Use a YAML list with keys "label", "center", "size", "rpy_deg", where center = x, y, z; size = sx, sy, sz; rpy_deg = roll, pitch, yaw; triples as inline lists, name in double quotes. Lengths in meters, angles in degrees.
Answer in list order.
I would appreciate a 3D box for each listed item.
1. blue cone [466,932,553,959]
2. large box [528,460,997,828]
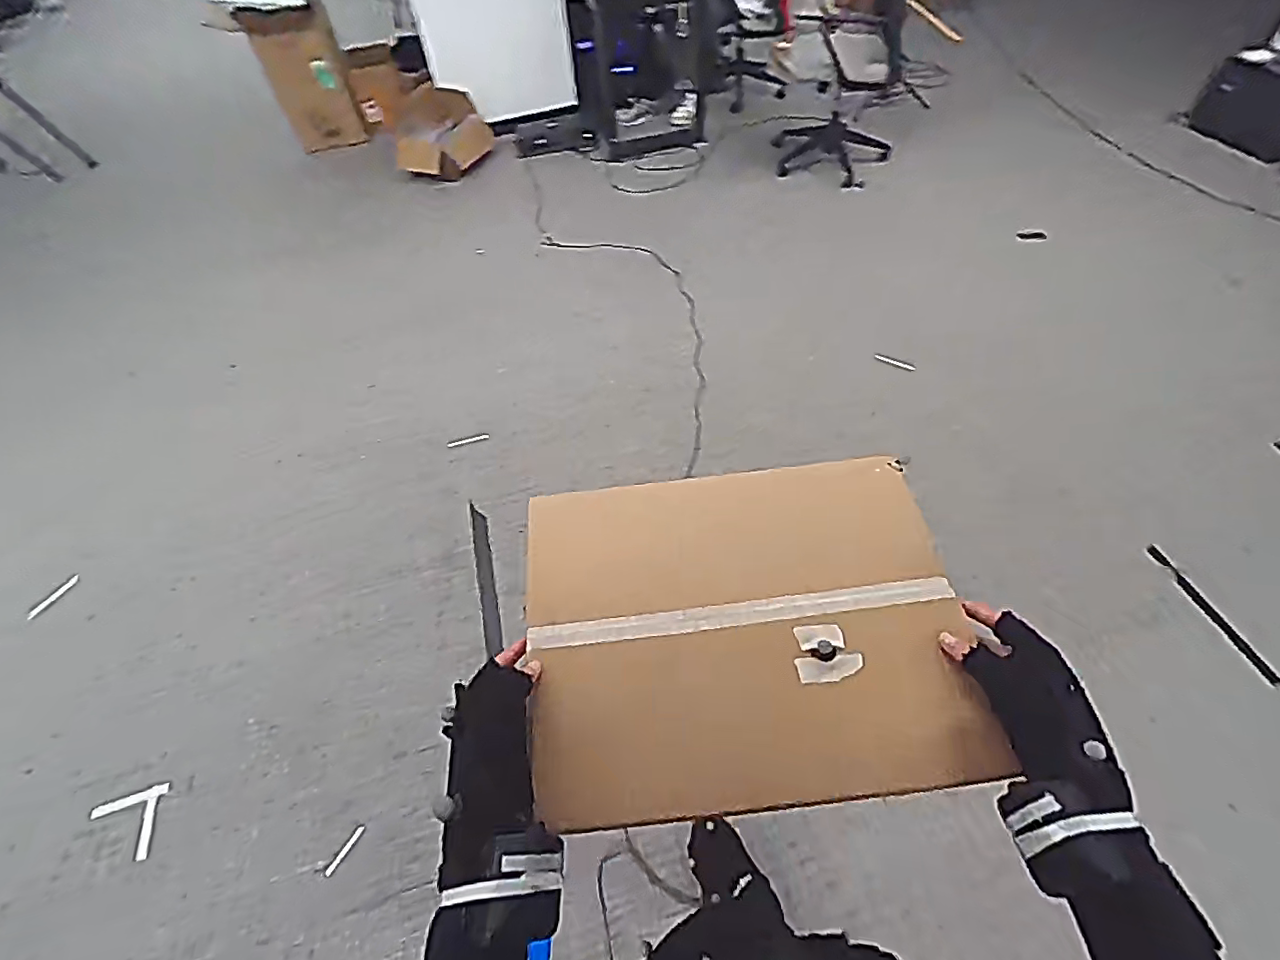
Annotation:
- label: "blue cone"
  center: [-0.288, 0.938, 0.950]
  size: [0.193, 0.380, 0.192]
  rpy_deg: [2, 54, 8]
- label: "large box"
  center: [0.096, 0.212, 0.654]
  size: [0.408, 0.320, 0.320]
  rpy_deg: [-7, 58, -1]
